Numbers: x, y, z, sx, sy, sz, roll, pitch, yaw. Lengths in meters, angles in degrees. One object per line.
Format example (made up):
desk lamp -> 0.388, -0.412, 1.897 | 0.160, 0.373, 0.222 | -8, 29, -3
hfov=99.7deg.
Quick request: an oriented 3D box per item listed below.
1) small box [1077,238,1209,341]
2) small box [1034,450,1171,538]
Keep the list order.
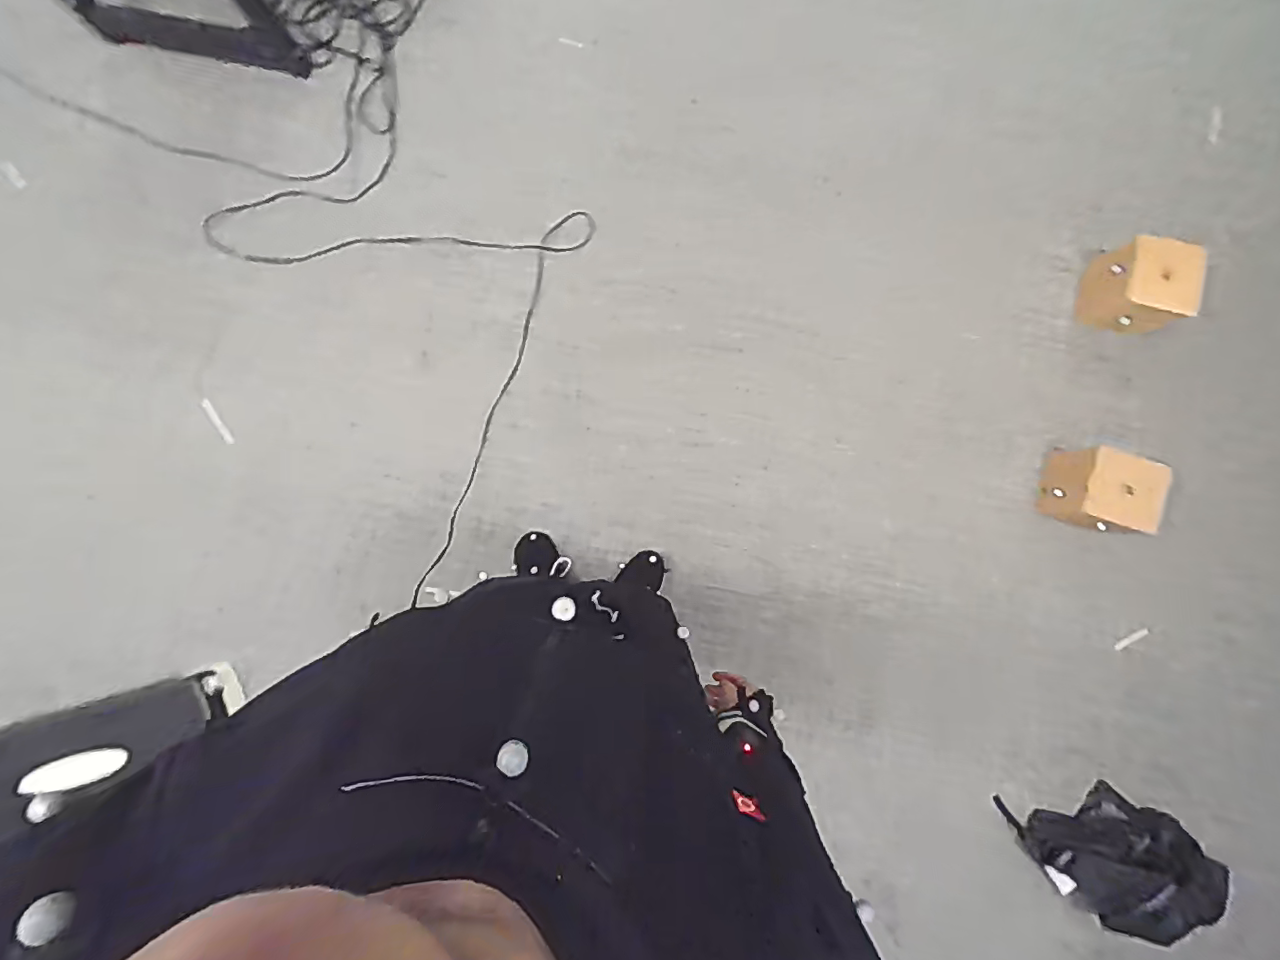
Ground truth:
small box -> 1.249, -0.468, 1.357 | 0.168, 0.176, 0.179 | 14, 86, 1
small box -> 1.117, 0.037, 1.321 | 0.179, 0.176, 0.168 | 18, 87, 0
